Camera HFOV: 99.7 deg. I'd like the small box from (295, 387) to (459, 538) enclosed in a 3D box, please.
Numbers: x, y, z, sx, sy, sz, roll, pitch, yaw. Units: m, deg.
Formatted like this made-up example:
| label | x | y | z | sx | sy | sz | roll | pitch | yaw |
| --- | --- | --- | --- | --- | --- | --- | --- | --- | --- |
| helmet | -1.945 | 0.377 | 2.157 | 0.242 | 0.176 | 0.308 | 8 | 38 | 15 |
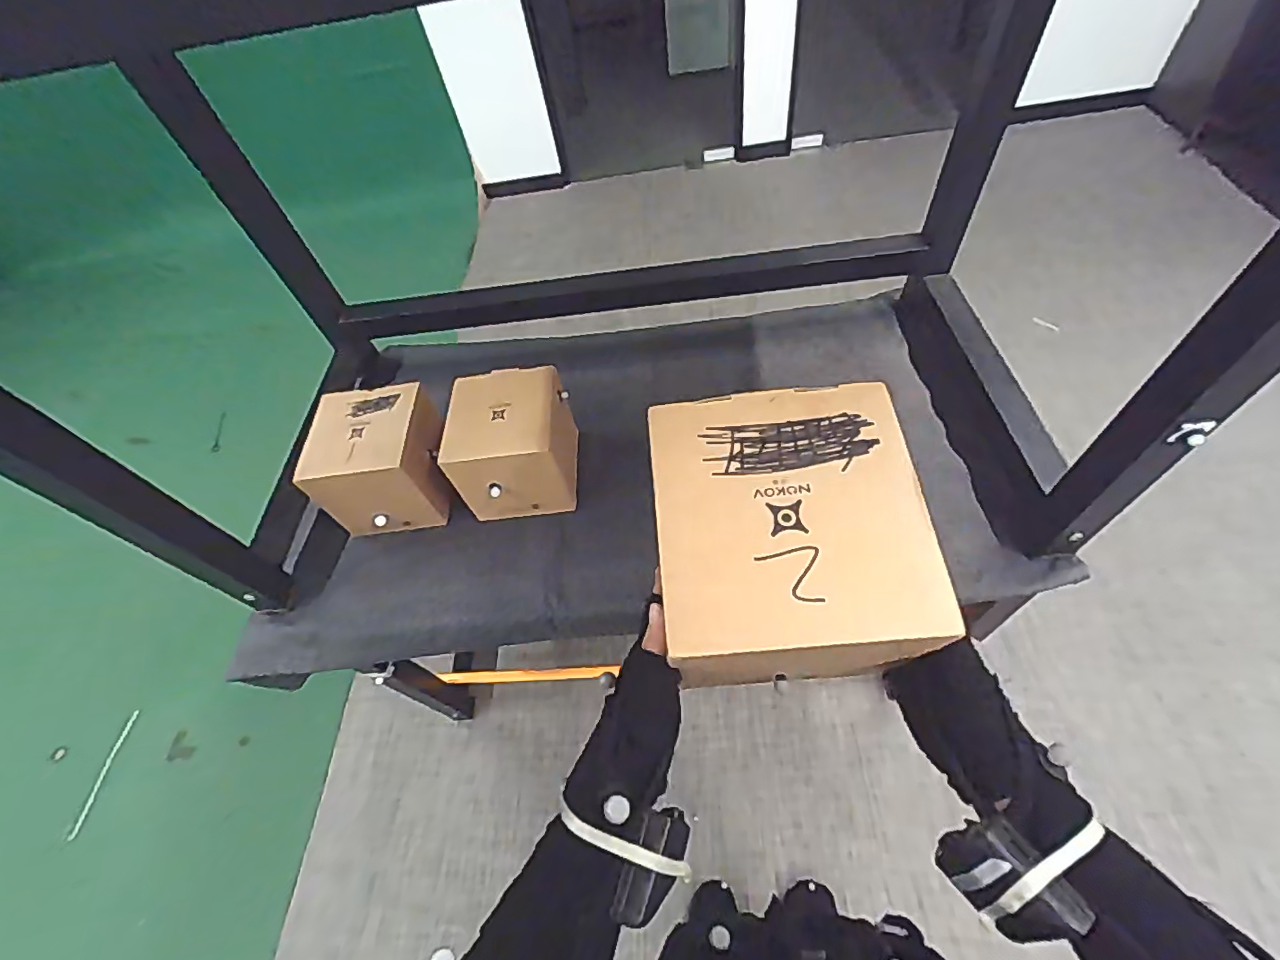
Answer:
| label | x | y | z | sx | sy | sz | roll | pitch | yaw |
| --- | --- | --- | --- | --- | --- | --- | --- | --- | --- |
| small box | -0.416 | -0.026 | 0.894 | 0.168 | 0.176 | 0.179 | -7 | 54 | 5 |
